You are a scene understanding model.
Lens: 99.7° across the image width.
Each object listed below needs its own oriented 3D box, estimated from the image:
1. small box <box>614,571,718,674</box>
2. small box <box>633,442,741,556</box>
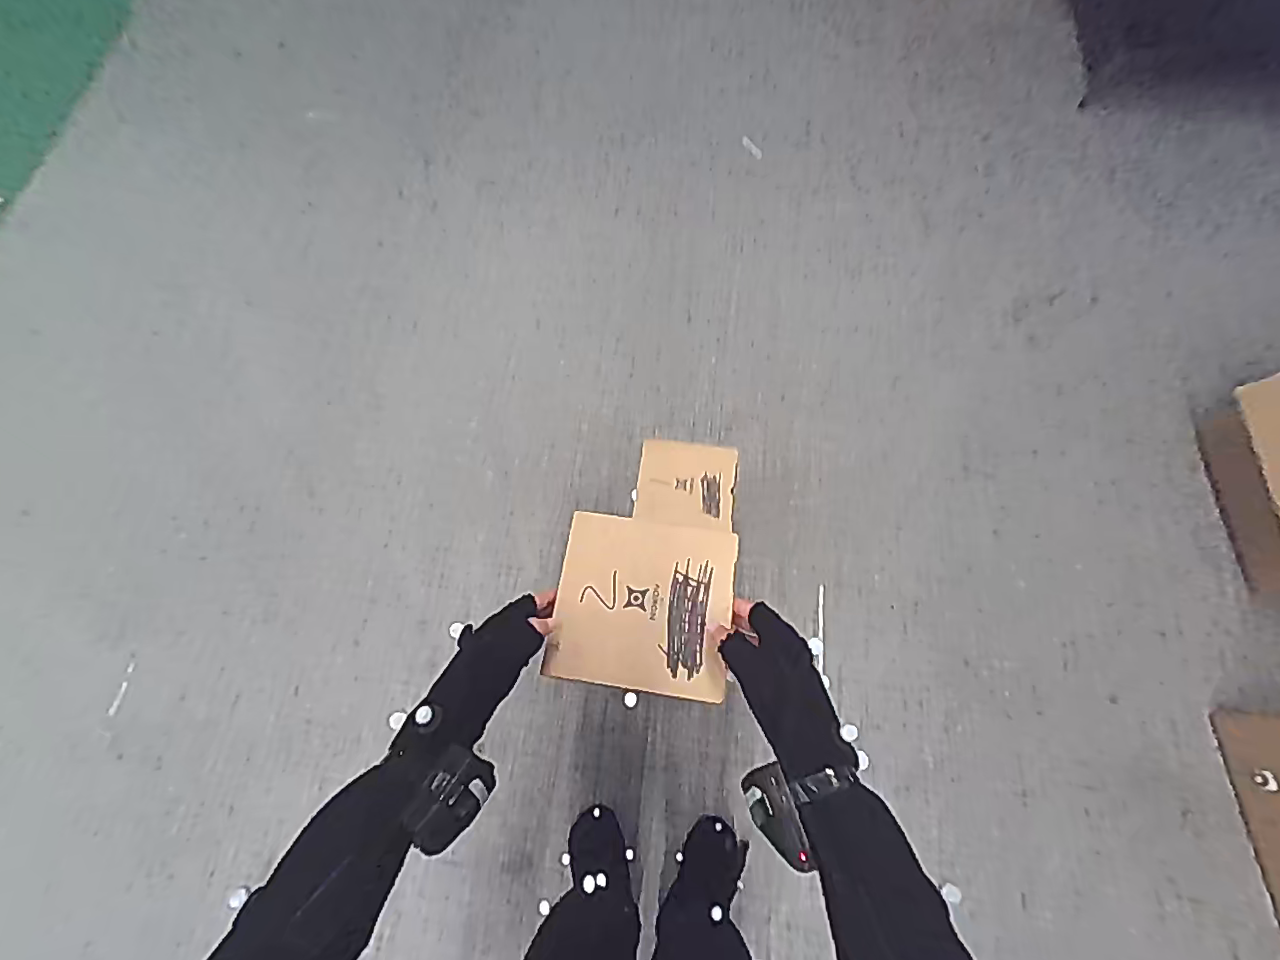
[{"bbox_3d":[0.056,0.299,1.115,0.179,0.176,0.168,11,71,7],"label":"small box"},{"bbox_3d":[0.089,0.043,1.034,0.179,0.176,0.168,7,70,6],"label":"small box"}]
